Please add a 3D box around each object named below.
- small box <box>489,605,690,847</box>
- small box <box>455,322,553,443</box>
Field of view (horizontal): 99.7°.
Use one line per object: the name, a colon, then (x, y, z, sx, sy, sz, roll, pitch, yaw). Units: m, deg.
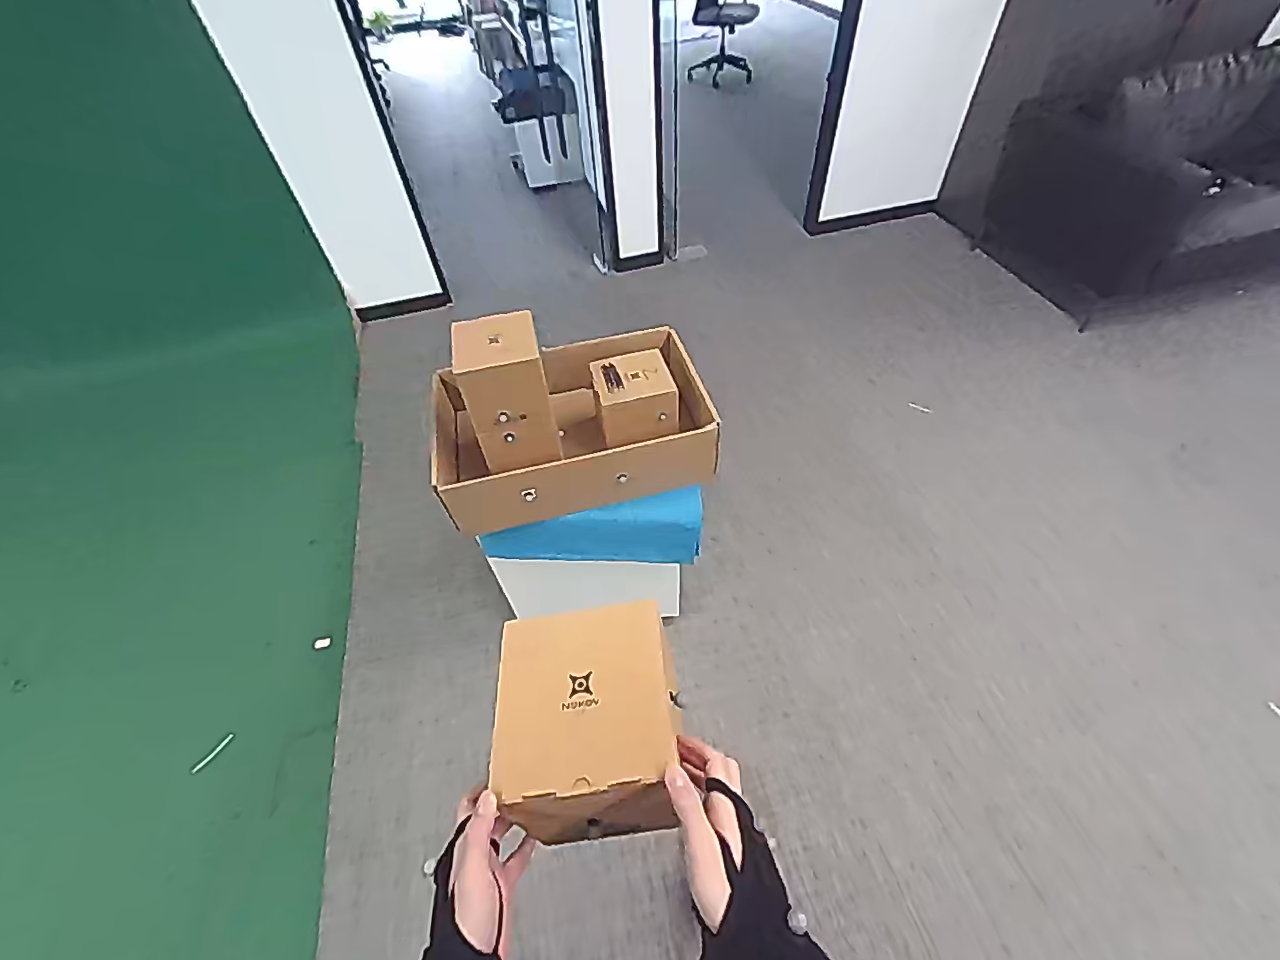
small box: (-0.043, 0.259, 0.569, 0.168, 0.176, 0.179, -9, 46, 3)
small box: (-0.283, -0.205, 1.138, 0.168, 0.176, 0.179, -12, 49, -7)
